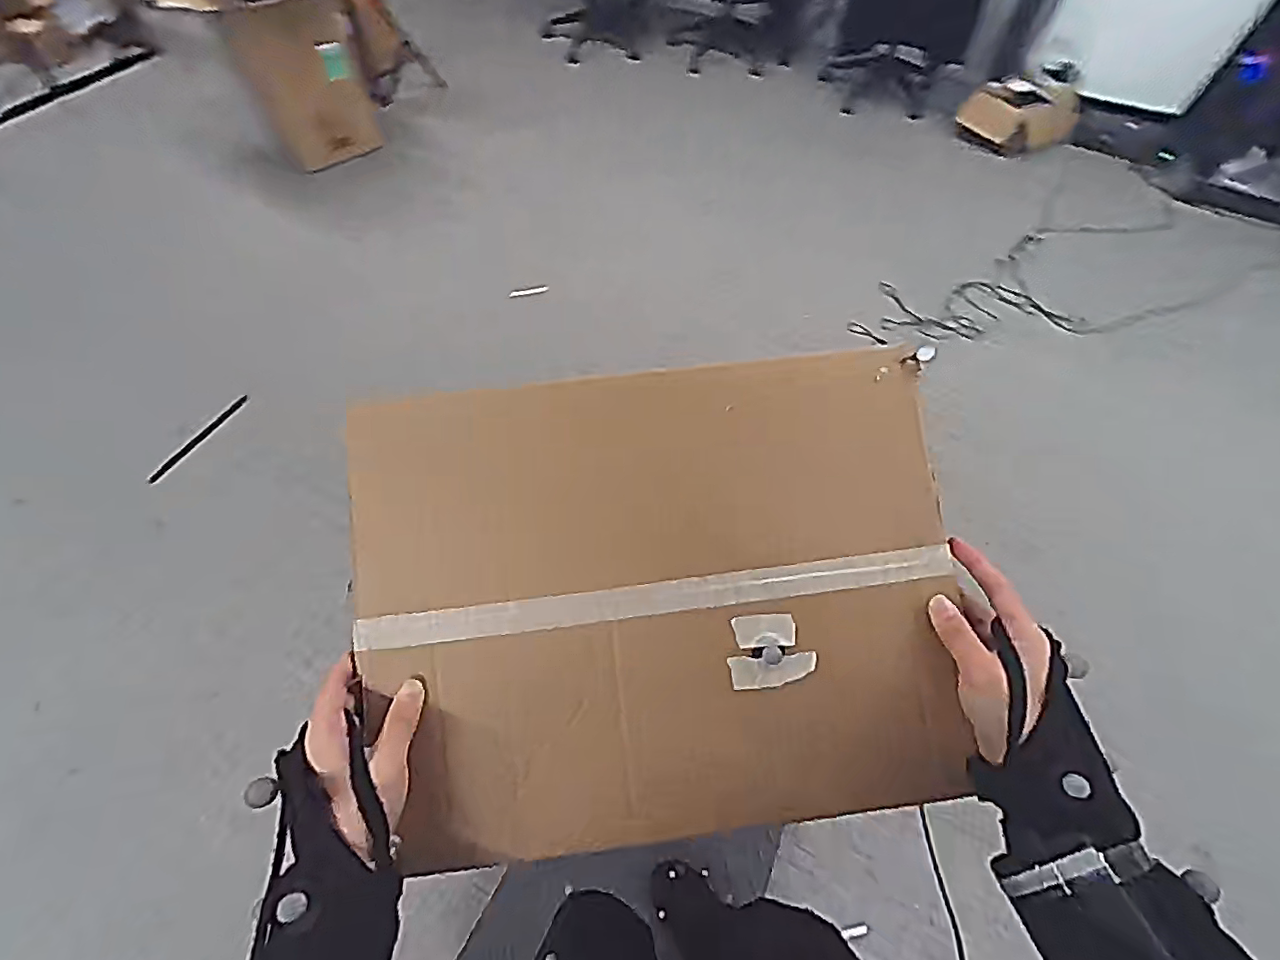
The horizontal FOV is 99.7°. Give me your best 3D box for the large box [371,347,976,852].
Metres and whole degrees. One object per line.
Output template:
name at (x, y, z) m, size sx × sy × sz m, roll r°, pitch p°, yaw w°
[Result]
large box at (0.014, 0.090, 0.528) m, size 0.408 × 0.320 × 0.320 m, roll -6°, pitch 85°, yaw -2°
